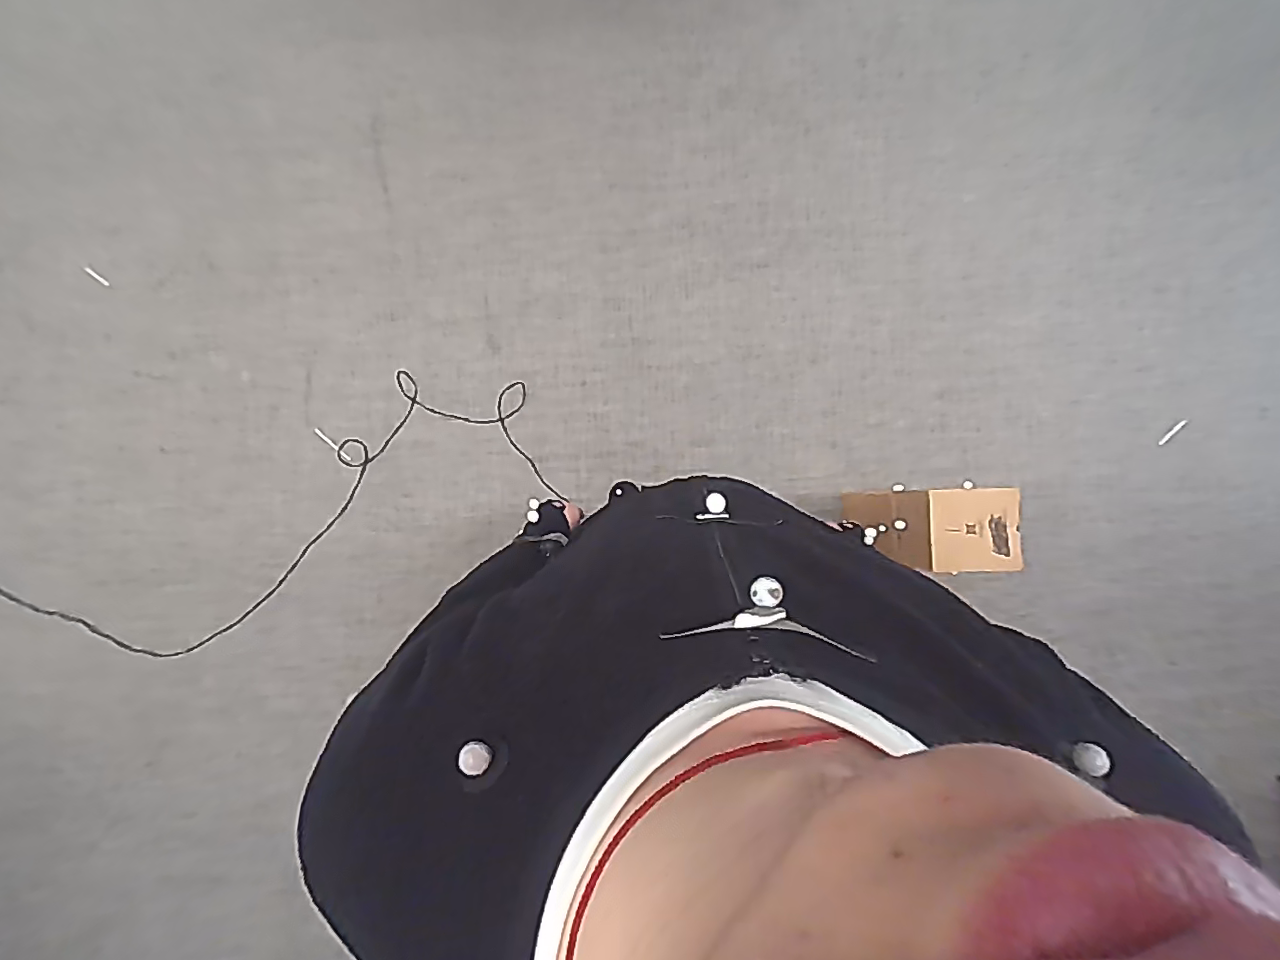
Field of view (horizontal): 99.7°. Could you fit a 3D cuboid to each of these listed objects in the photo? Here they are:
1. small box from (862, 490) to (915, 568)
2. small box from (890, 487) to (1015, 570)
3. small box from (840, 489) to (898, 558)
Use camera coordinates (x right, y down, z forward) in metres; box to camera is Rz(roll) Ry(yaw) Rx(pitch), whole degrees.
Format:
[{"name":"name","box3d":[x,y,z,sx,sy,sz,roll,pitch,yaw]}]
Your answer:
[{"name":"small box","box3d":[0.655,0.112,1.318,0.168,0.176,0.179,-3,91,2]},{"name":"small box","box3d":[0.658,0.099,1.152,0.179,0.176,0.168,-1,88,2]},{"name":"small box","box3d":[0.659,0.114,1.479,0.168,0.176,0.179,-1,90,1]}]
